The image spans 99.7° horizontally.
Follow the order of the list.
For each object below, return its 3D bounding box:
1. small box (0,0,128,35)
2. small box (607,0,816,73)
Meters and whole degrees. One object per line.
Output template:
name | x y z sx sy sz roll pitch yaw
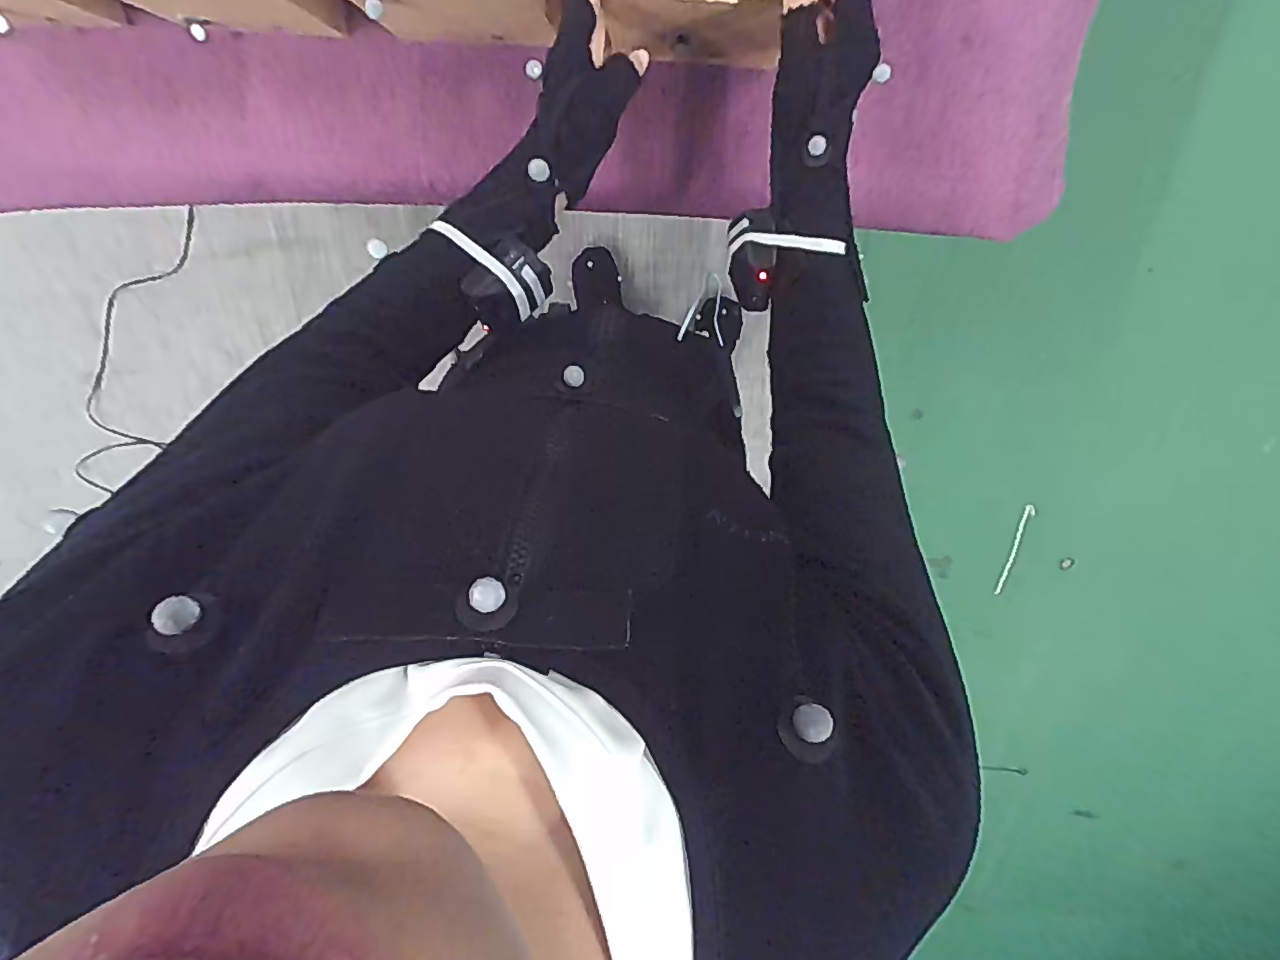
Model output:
small box | -0.590 -0.503 0.439 0.168 0.176 0.179 2 114 0
small box | 0.058 -0.470 0.444 0.168 0.176 0.179 4 114 -1
